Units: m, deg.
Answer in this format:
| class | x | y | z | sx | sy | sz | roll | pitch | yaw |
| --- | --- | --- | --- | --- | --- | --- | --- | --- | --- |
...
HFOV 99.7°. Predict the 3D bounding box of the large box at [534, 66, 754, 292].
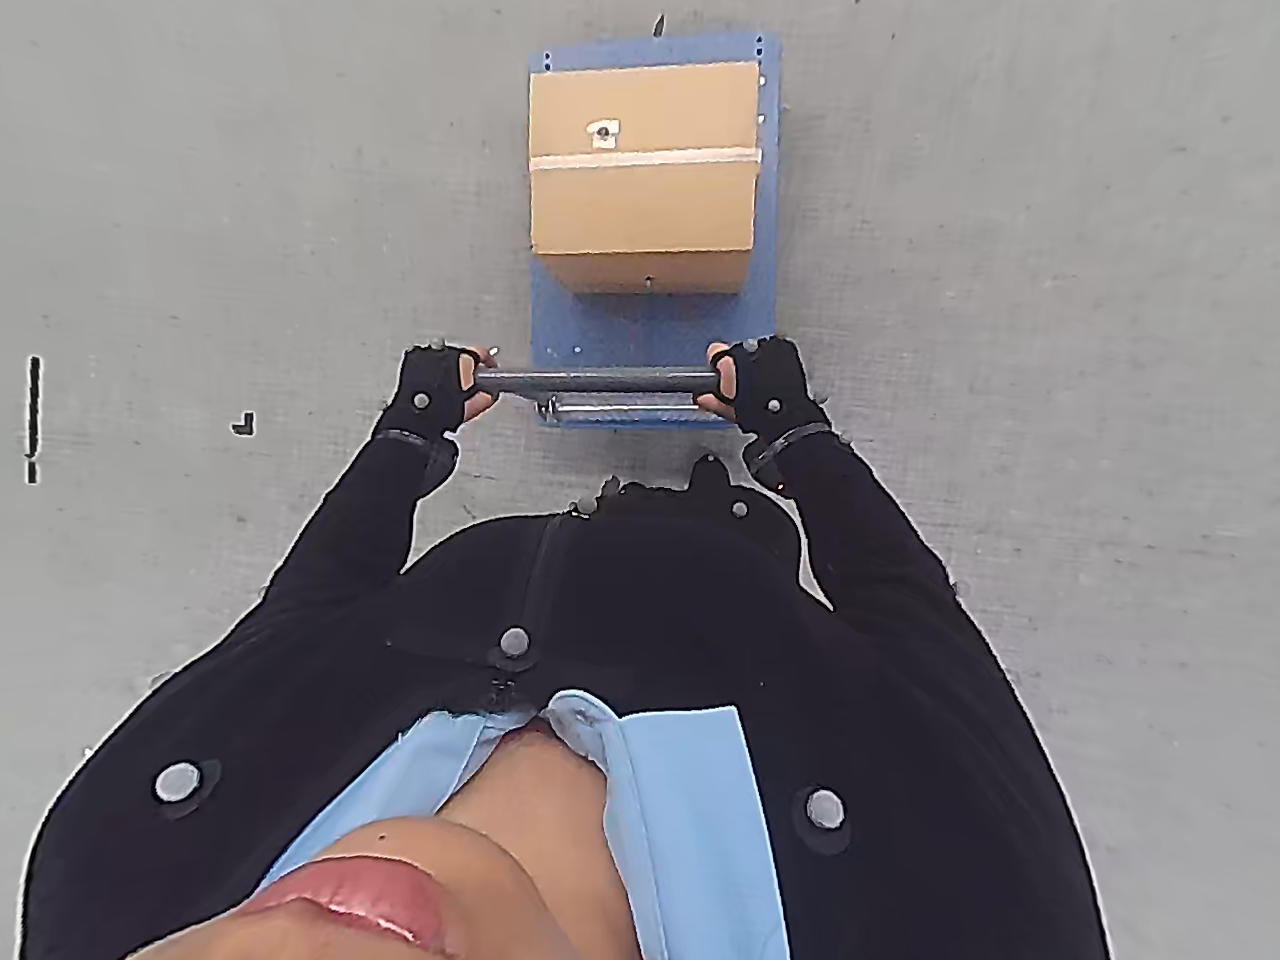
| class | x | y | z | sx | sy | sz | roll | pitch | yaw |
| --- | --- | --- | --- | --- | --- | --- | --- | --- | --- |
| large box | 0.022 | -0.586 | 1.125 | 0.408 | 0.320 | 0.320 | 2 | 95 | 7 |
